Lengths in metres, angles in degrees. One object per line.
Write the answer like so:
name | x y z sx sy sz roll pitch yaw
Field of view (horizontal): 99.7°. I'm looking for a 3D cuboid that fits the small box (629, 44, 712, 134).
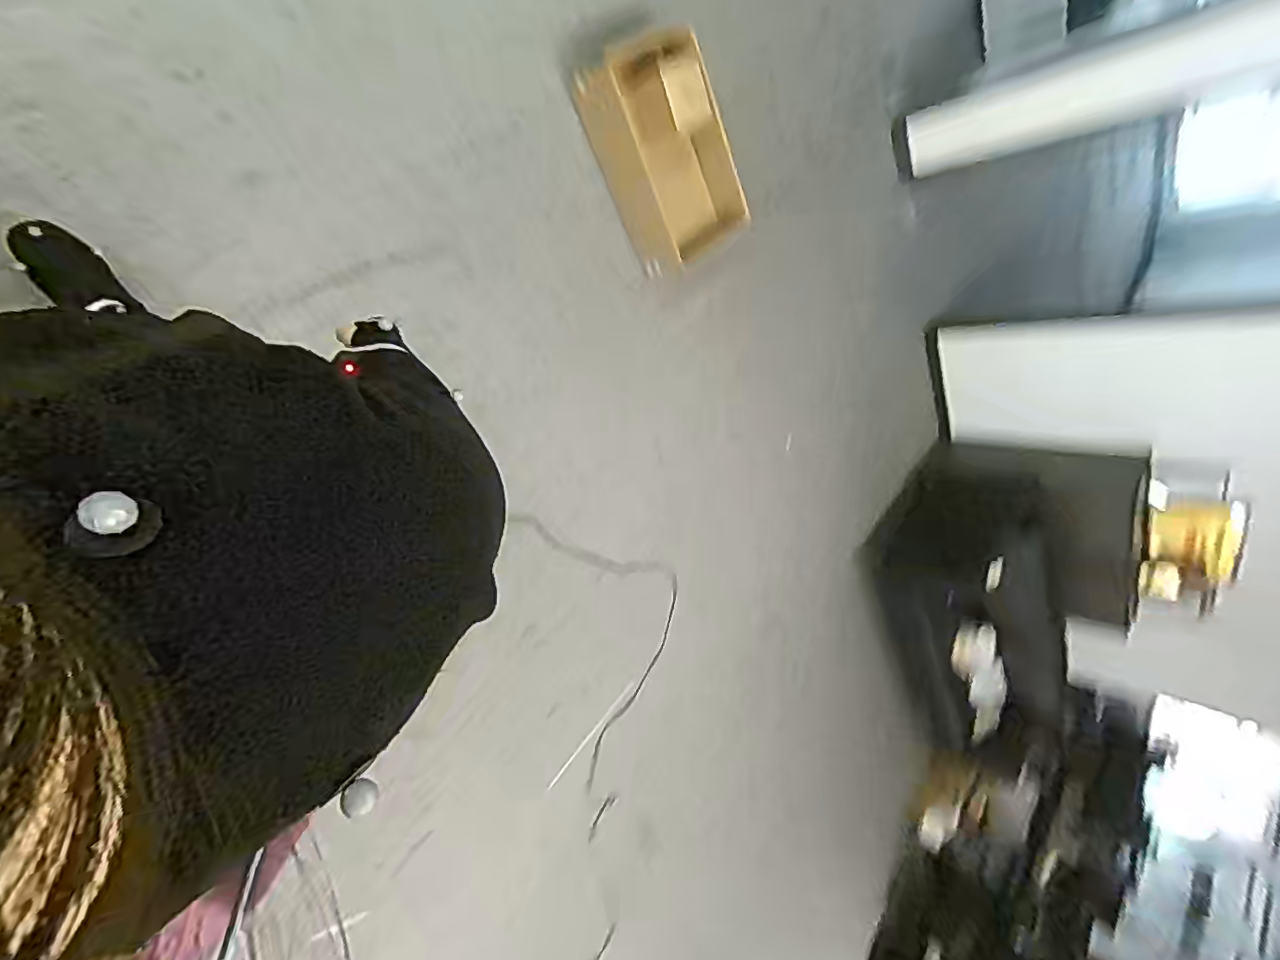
small box | 0.088 -1.213 1.685 0.179 0.176 0.168 -41 124 -27
